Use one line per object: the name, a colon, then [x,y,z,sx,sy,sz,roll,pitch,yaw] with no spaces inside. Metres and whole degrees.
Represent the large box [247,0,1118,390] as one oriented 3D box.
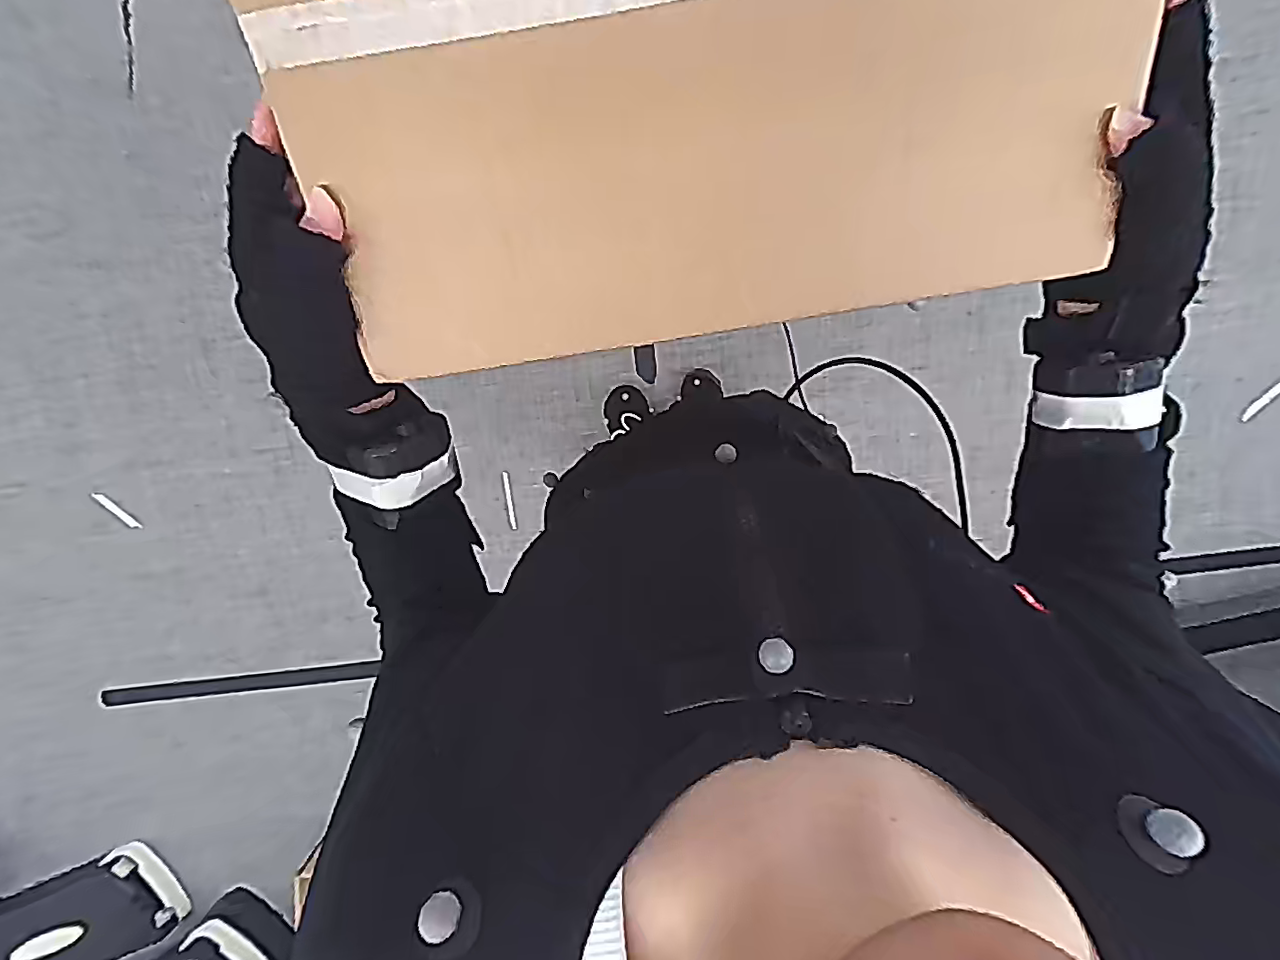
large box: [0.020,-0.284,0.380,0.408,0.320,0.320,-9,114,2]
